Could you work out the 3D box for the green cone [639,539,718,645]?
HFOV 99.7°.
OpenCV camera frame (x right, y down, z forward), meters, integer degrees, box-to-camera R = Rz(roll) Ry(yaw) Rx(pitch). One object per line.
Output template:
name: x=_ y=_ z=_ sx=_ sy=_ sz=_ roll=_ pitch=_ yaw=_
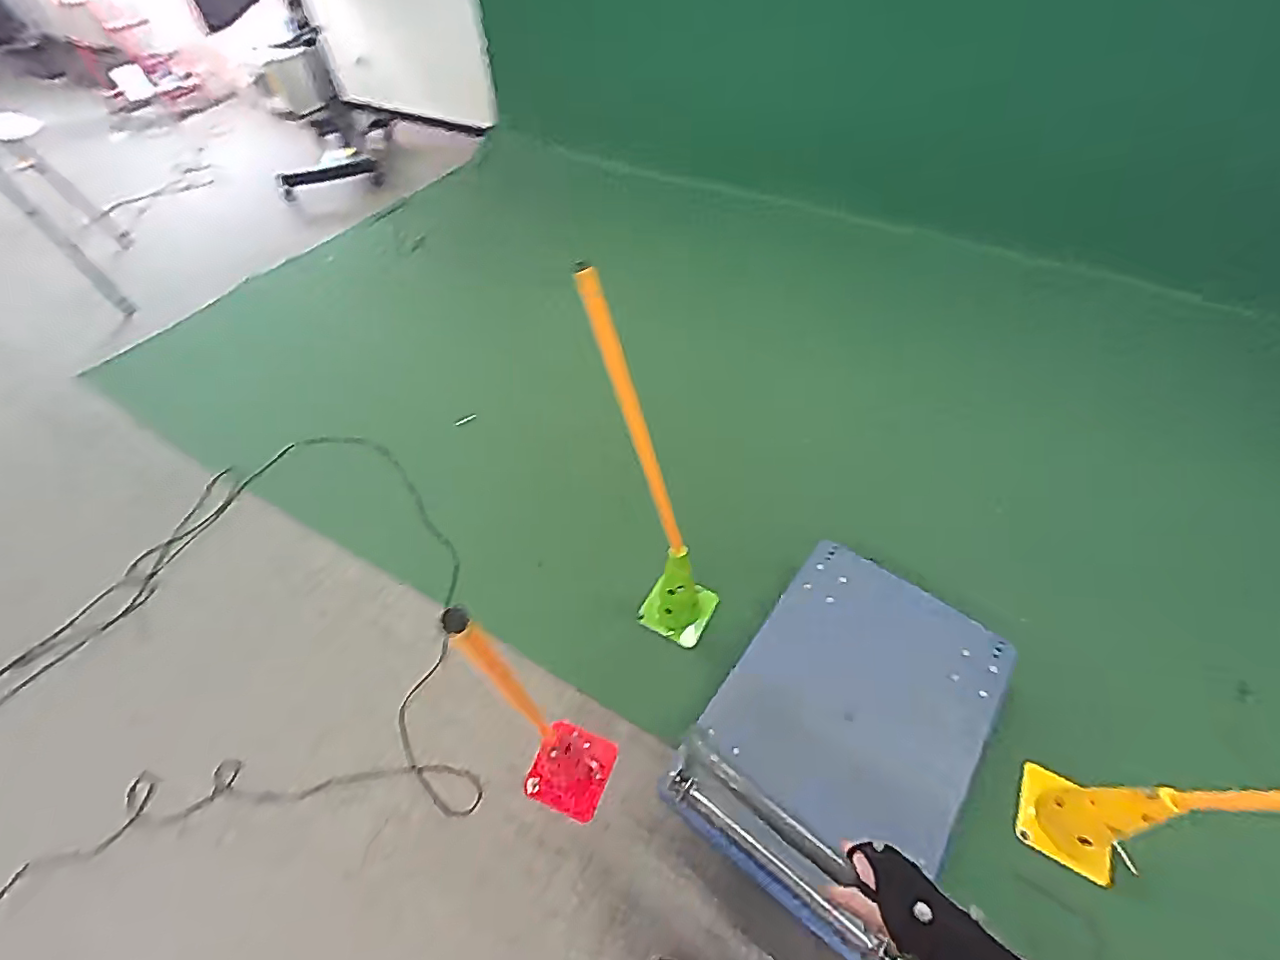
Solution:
green cone: x=0.117 y=0.288 z=1.560 sx=0.200 sy=0.368 sz=0.202 roll=24 pitch=55 yaw=20
